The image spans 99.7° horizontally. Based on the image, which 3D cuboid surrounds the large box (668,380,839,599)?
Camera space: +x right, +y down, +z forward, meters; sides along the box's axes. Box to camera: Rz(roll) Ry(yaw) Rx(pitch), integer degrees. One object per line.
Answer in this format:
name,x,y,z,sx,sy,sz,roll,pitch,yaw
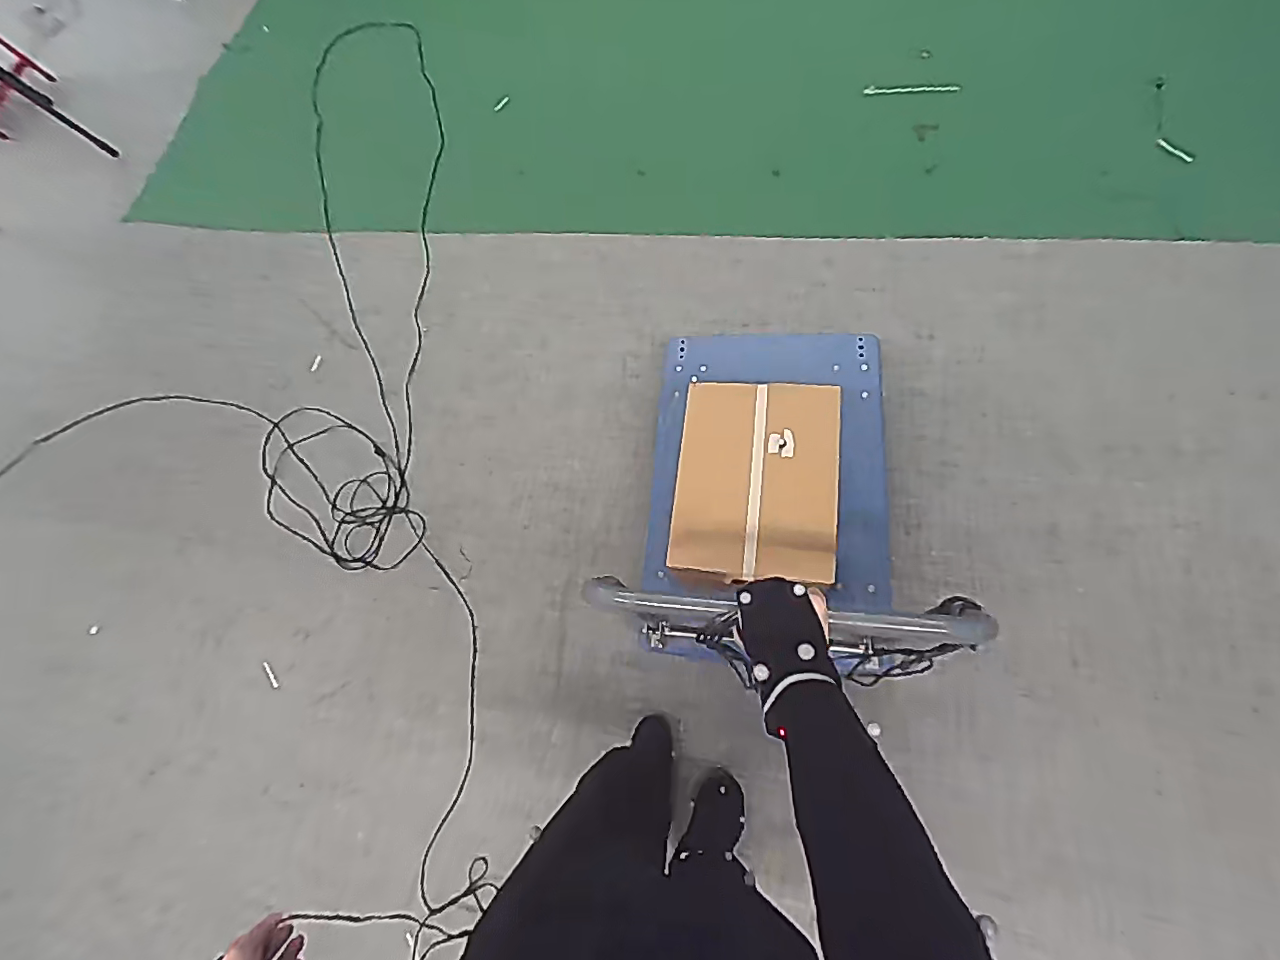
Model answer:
large box,0.256,0.032,1.198,0.320,0.320,0.408,5,72,13
